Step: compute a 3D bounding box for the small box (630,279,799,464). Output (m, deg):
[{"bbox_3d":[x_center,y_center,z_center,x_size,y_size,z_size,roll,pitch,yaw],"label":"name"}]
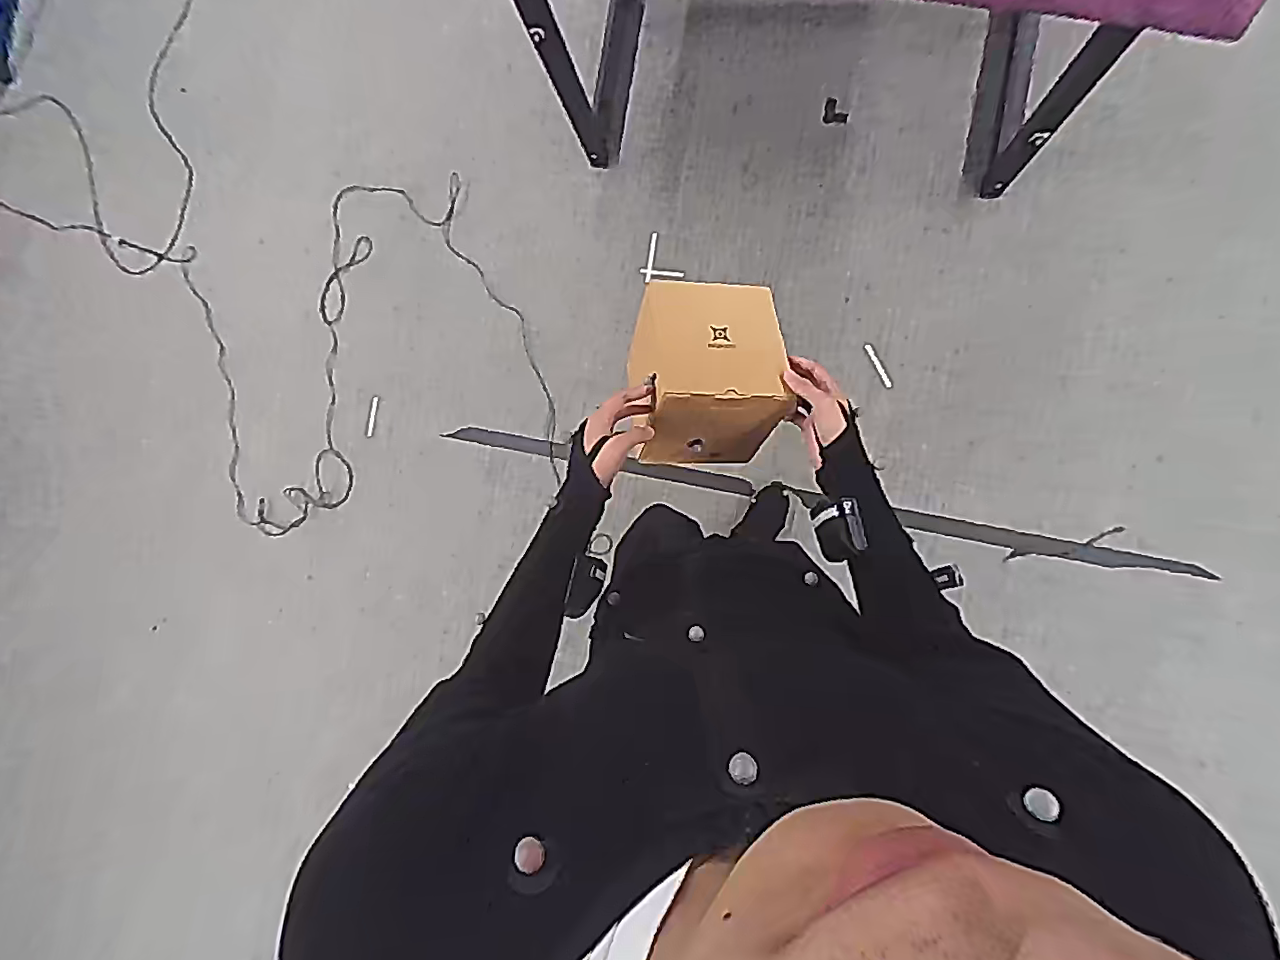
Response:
[{"bbox_3d":[0.085,-0.138,0.724,0.168,0.176,0.179,-1,65,-12],"label":"small box"}]
